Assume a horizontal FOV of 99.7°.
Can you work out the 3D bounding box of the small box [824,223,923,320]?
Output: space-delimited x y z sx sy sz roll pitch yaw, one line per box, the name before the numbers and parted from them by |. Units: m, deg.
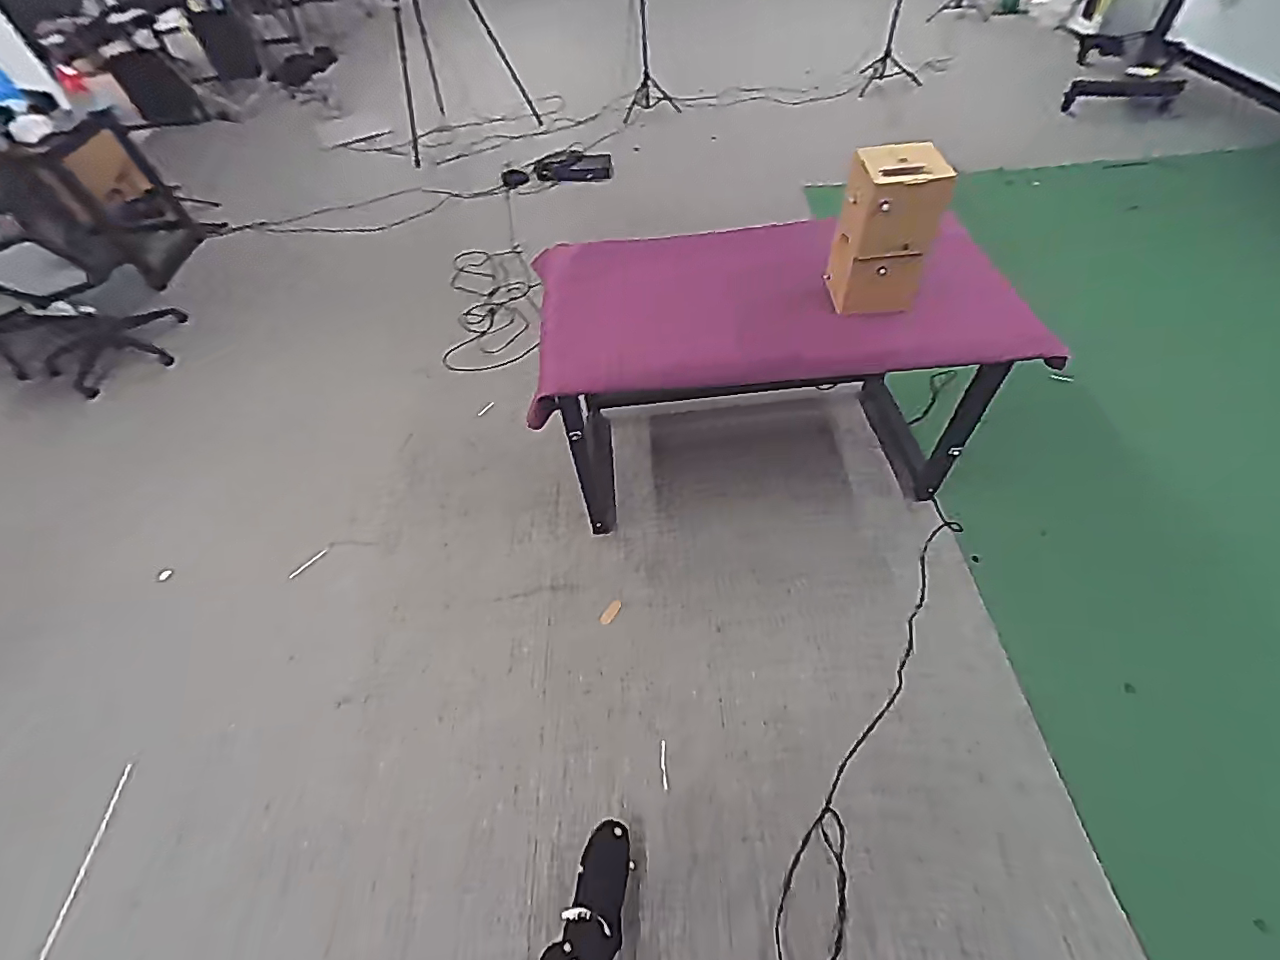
small box | 0.574 -0.520 1.360 0.179 0.176 0.168 -3 53 2
